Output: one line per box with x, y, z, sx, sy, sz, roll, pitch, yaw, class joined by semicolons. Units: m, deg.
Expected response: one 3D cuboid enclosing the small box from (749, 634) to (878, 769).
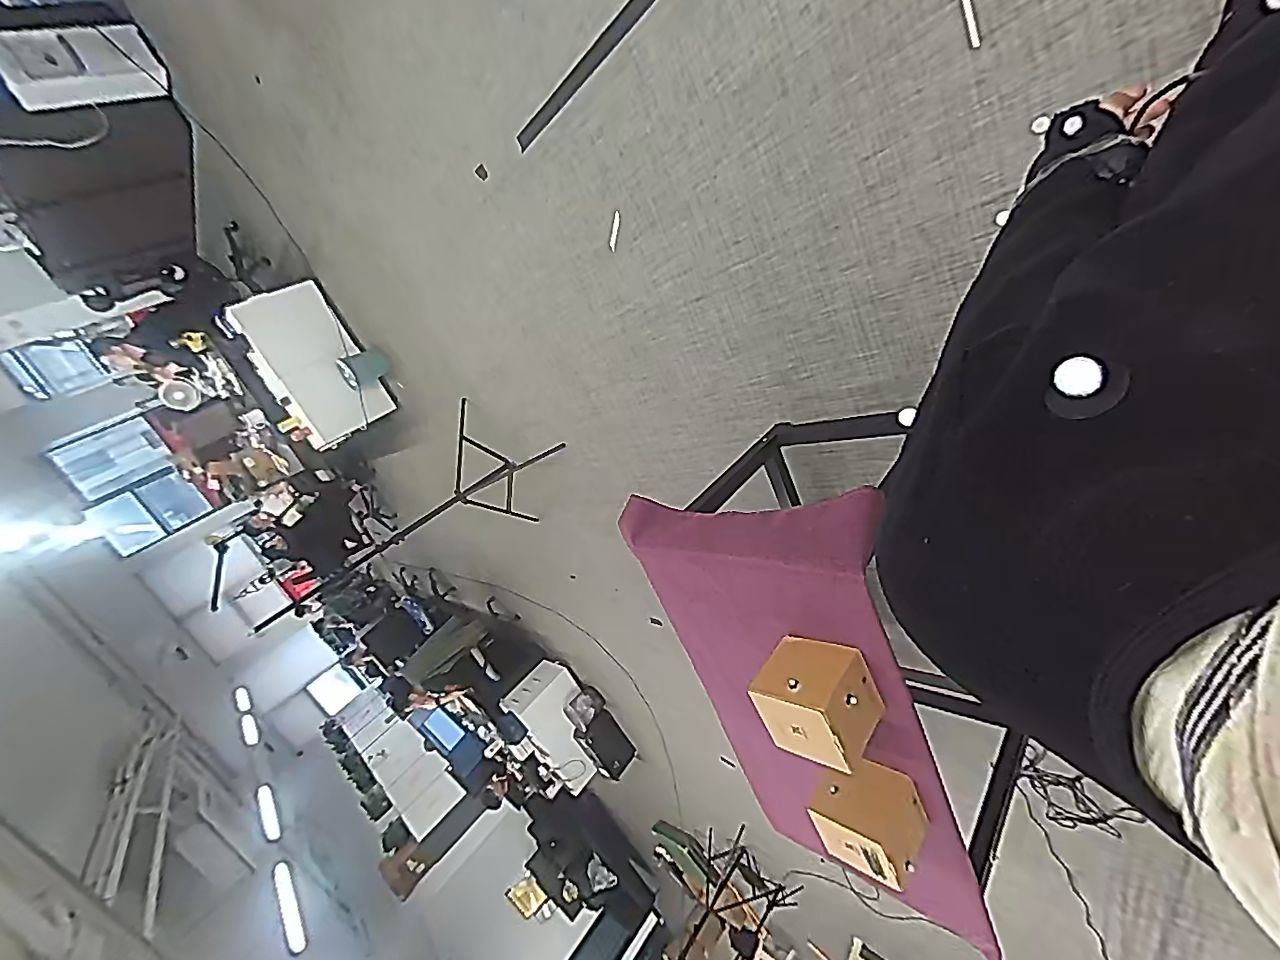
0.360;0.437;1.100;0.179;0.176;0.168;-5;118;51;small box
